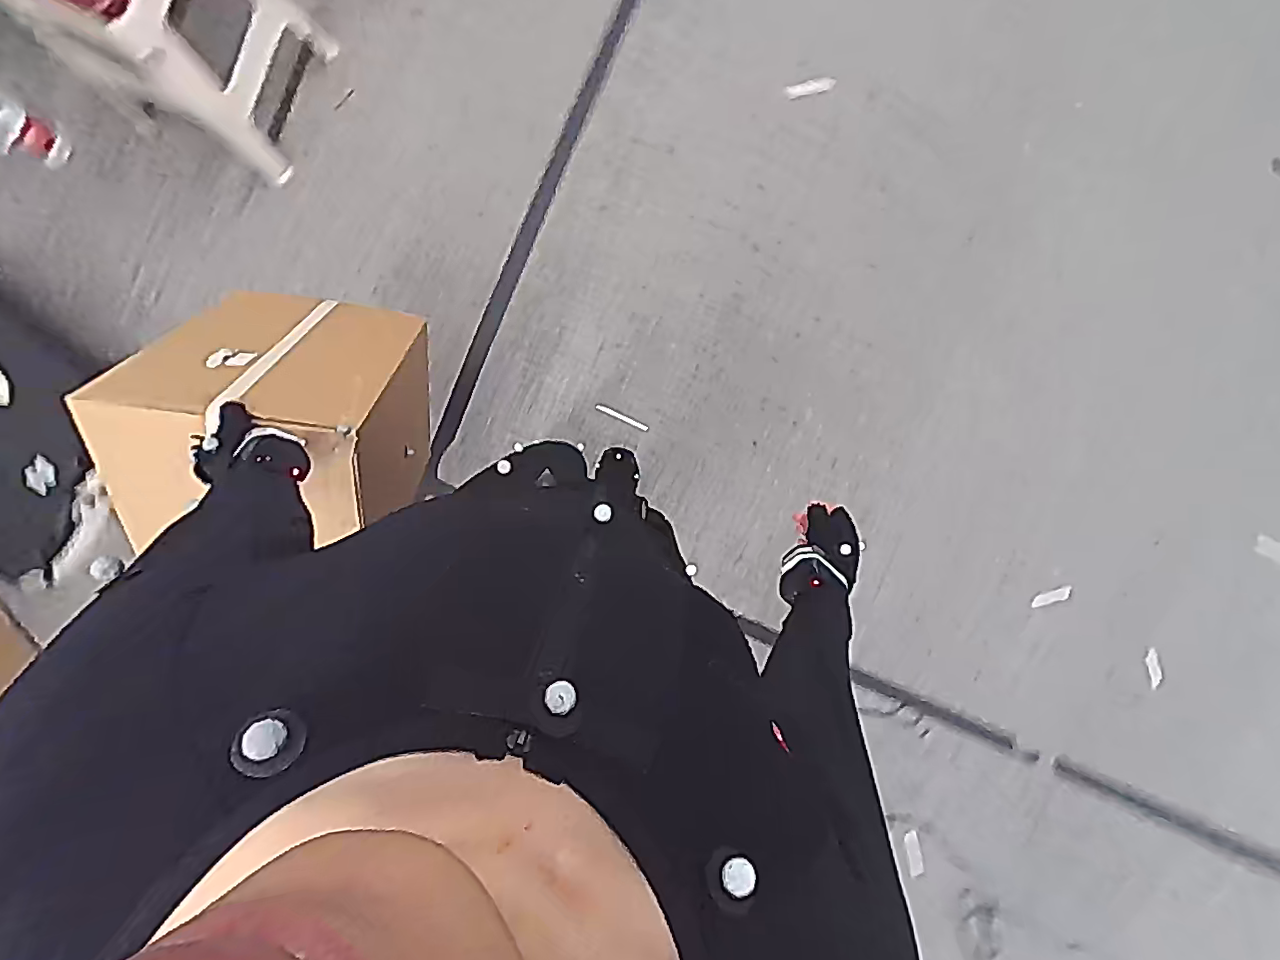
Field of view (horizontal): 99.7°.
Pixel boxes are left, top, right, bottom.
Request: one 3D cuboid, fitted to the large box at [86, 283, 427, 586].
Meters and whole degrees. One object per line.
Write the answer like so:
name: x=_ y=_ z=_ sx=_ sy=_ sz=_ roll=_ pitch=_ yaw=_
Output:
large box: x=-0.558 y=-0.085 z=0.905 sx=0.320 sy=0.408 sz=0.320 roll=7 pitch=127 yaw=-11
